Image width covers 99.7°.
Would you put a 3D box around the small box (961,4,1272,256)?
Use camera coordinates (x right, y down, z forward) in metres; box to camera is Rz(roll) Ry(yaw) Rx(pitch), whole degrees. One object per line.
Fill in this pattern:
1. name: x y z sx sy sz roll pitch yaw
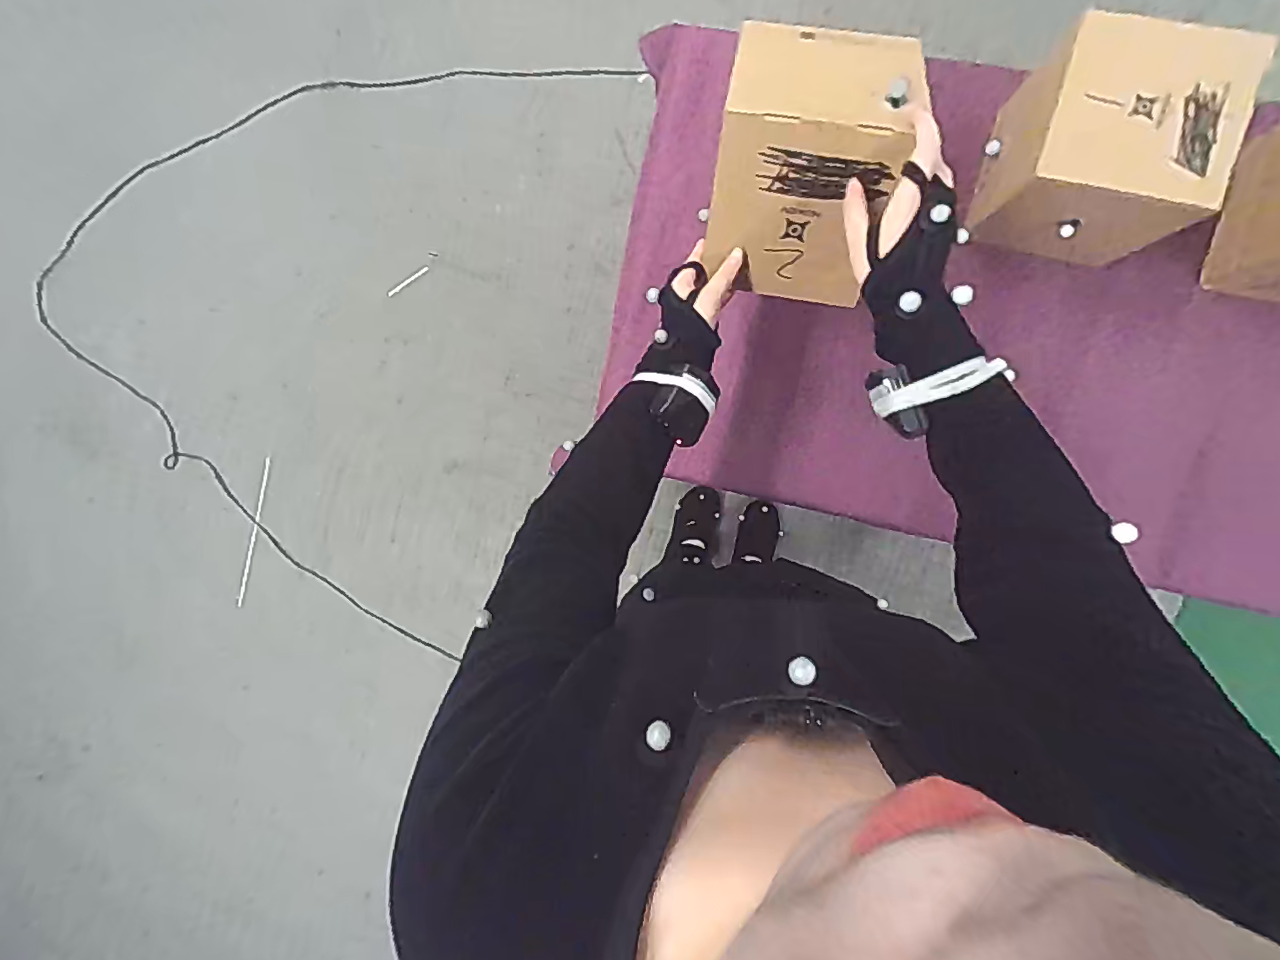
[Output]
1. small box: 0.504 -0.371 0.606 0.179 0.176 0.168 15 95 8

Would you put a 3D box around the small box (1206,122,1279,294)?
1. small box: 0.777 -0.308 0.573 0.168 0.176 0.179 14 96 7
